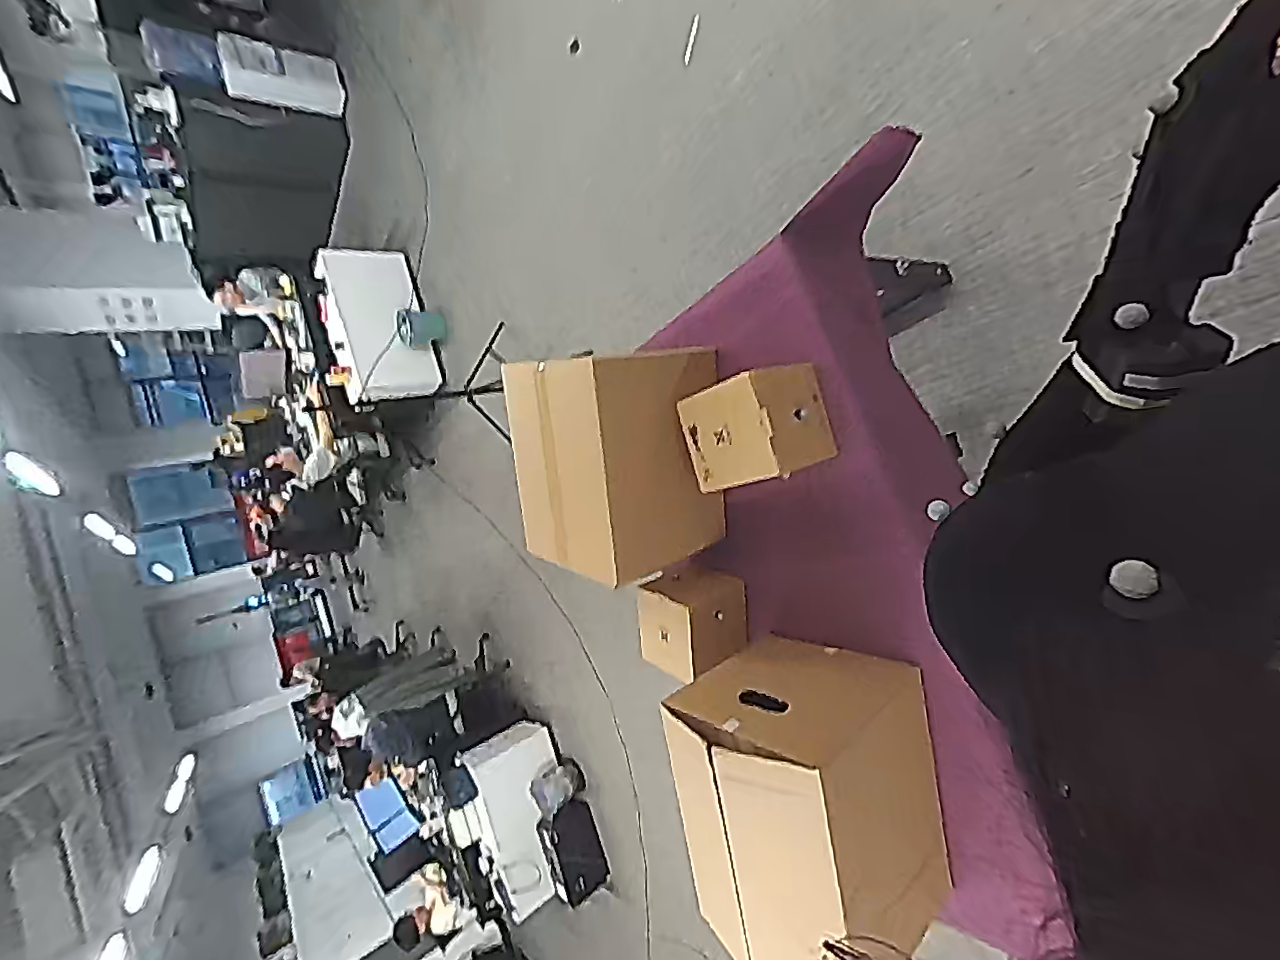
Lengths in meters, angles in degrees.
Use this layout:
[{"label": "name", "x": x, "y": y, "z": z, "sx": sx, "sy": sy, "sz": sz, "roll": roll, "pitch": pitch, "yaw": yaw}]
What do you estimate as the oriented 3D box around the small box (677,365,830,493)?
[{"label": "small box", "x": 0.198, "y": -0.087, "z": 0.916, "sx": 0.179, "sy": 0.176, "sz": 0.168, "roll": -17, "pitch": 89, "yaw": 52}]
